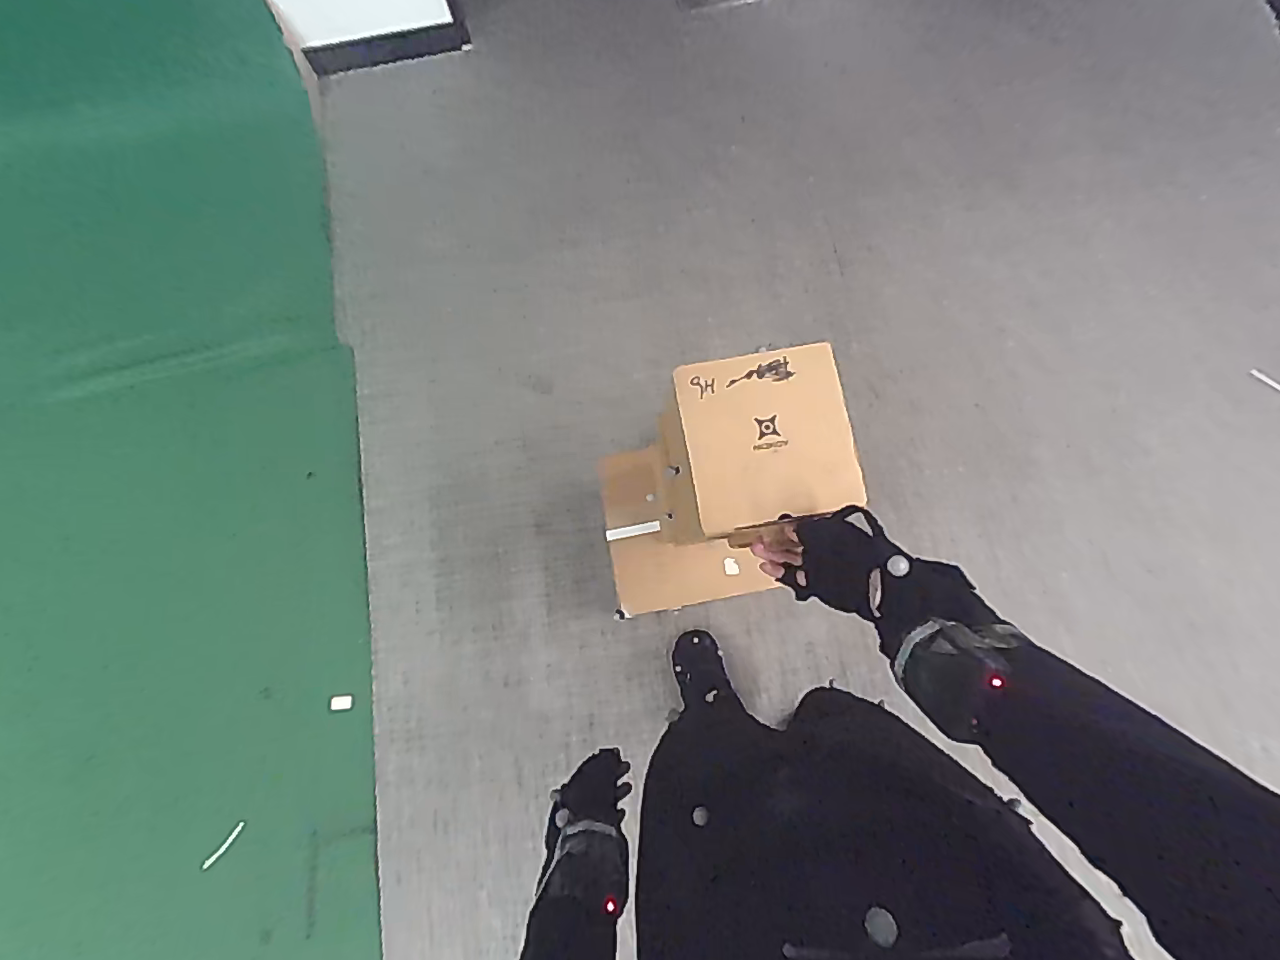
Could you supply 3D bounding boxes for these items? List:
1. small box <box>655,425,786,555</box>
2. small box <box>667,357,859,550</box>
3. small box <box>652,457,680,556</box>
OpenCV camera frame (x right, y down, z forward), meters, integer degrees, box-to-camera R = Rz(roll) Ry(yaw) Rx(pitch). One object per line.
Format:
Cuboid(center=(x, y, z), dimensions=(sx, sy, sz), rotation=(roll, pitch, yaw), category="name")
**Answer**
Cuboid(center=(0.119, 0.009, 0.785), dimensions=(0.168, 0.176, 0.179), rotation=(-11, 81, -1), category="small box")
Cuboid(center=(0.126, -0.019, 0.623), dimensions=(0.168, 0.176, 0.179), rotation=(-10, 82, 0), category="small box")
Cuboid(center=(0.121, 0.034, 0.945), dimensions=(0.179, 0.176, 0.168), rotation=(-12, 82, -1), category="small box")
